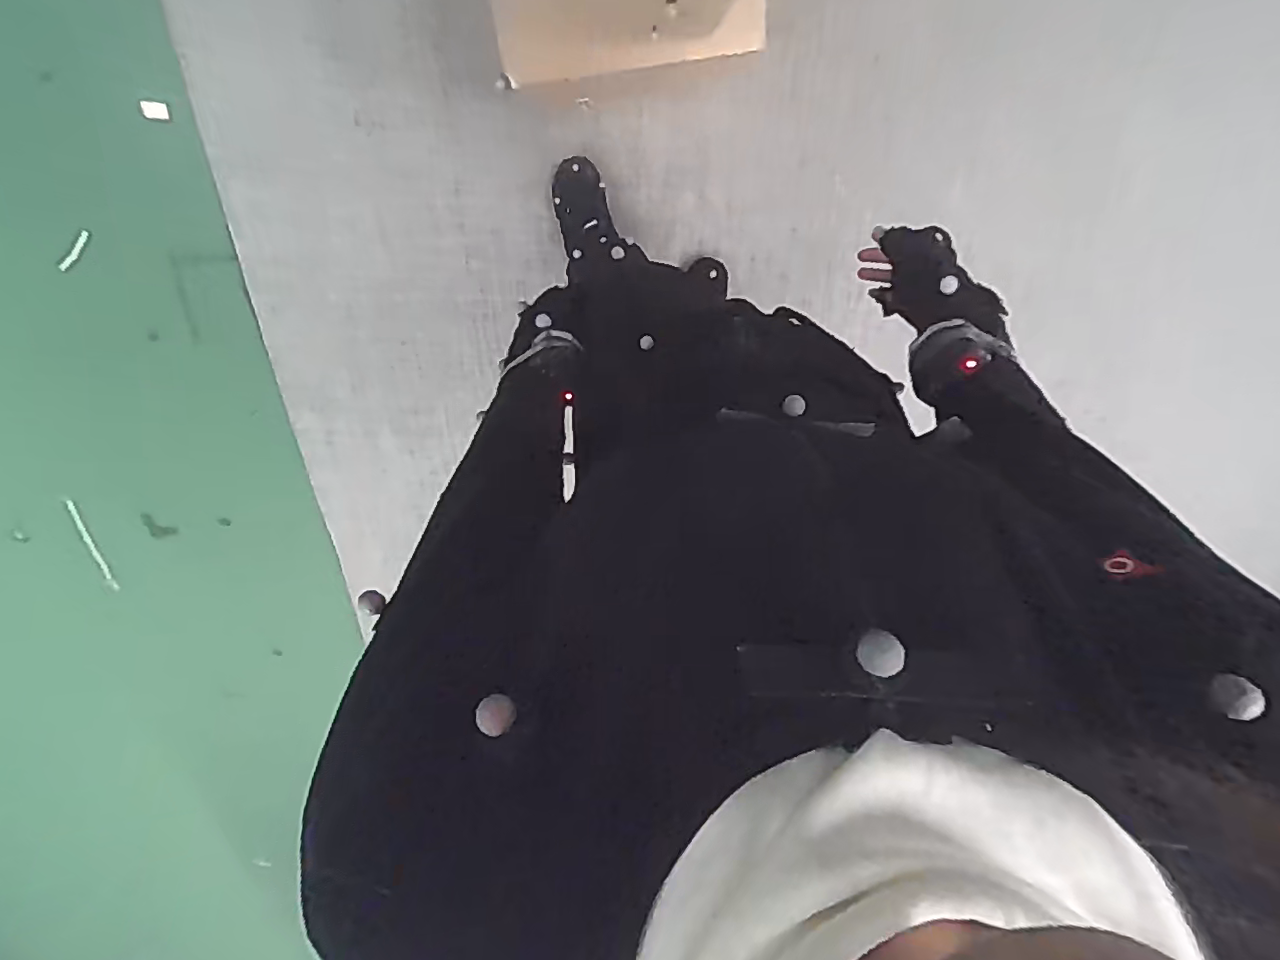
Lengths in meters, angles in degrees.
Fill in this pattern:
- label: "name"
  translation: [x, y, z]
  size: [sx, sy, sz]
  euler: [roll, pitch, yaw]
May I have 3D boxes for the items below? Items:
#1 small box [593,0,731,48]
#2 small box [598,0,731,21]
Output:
- label: "small box"
  translation: [0.022, -0.696, 0.718]
  size: [0.179, 0.176, 0.168]
  euler: [-3, 118, 0]
- label: "small box"
  translation: [0.027, -0.618, 0.575]
  size: [0.168, 0.176, 0.179]
  euler: [-5, 119, 0]
